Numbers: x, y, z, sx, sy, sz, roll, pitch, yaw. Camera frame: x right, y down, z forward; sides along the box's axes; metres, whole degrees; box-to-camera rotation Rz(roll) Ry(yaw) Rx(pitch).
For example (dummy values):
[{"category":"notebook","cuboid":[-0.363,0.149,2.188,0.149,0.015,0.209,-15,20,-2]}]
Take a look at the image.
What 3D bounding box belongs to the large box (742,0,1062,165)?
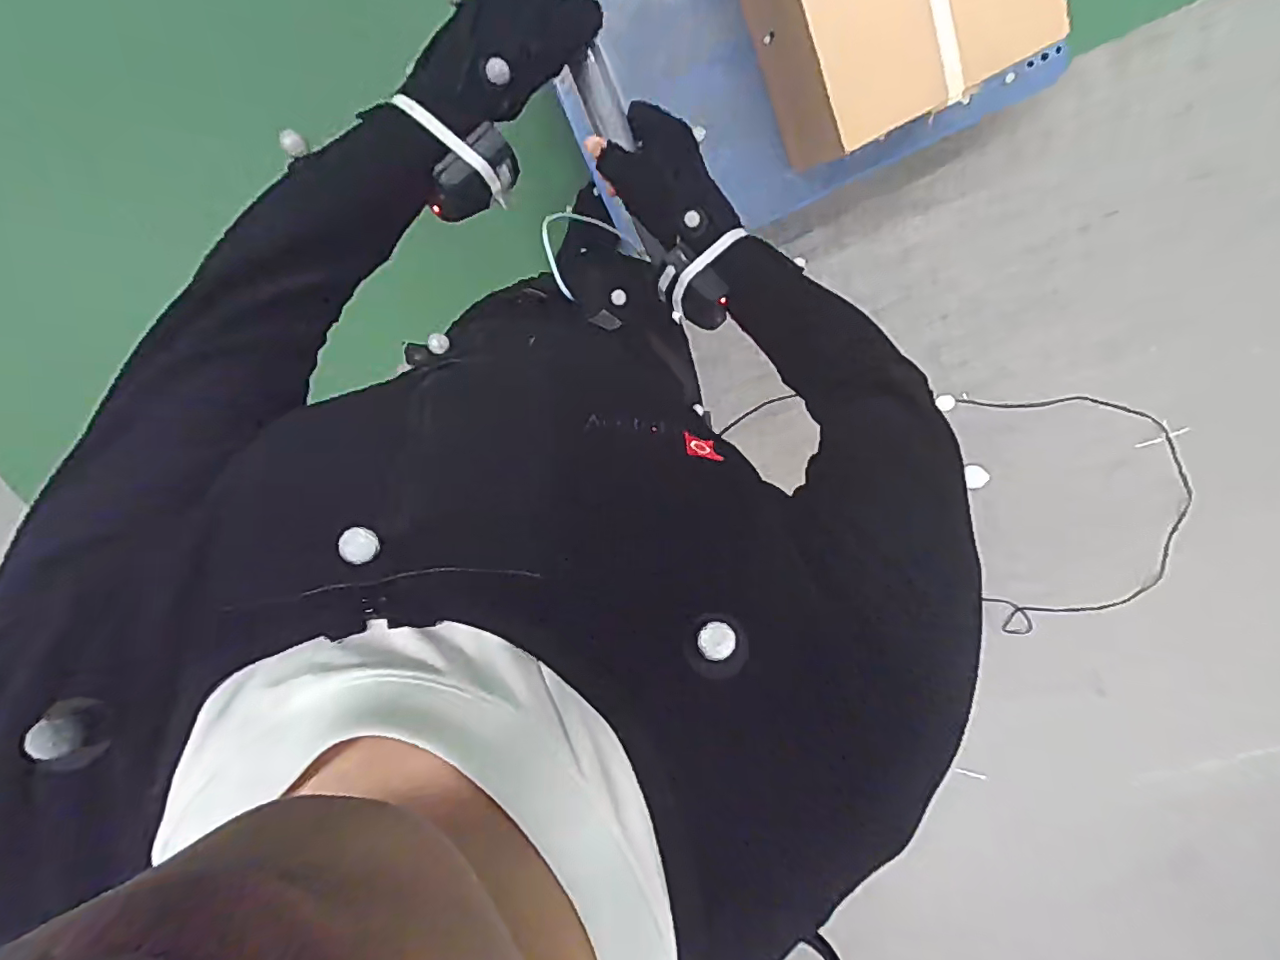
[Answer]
[{"category":"large box","cuboid":[0.351,-0.771,0.823,0.320,0.320,0.408,-24,113,11]}]
